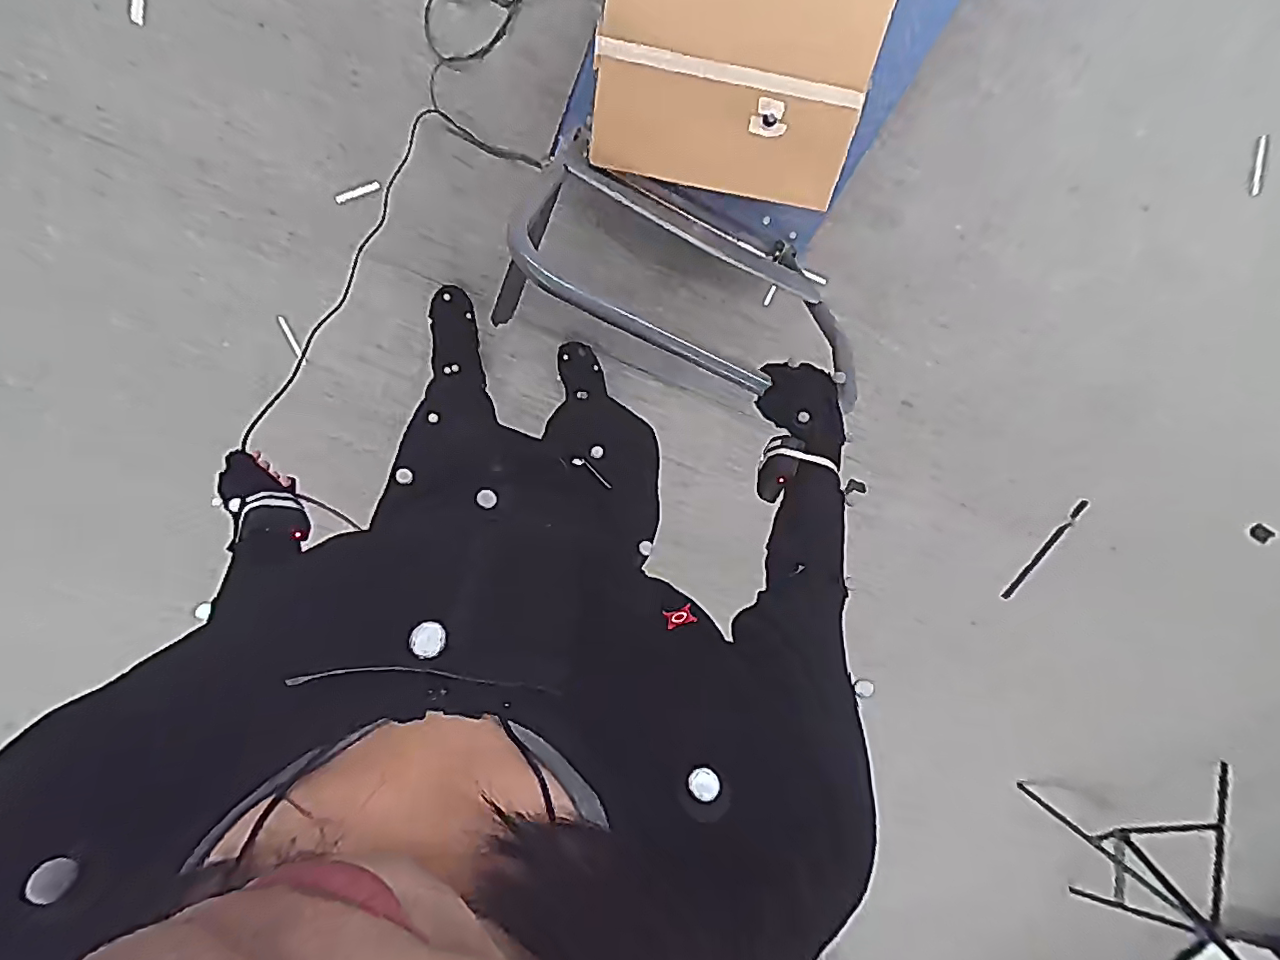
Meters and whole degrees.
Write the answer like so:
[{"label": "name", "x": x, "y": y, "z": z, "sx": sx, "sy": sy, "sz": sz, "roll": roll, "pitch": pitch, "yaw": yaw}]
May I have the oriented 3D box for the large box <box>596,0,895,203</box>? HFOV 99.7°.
[{"label": "large box", "x": 0.144, "y": -0.695, "z": 0.929, "sx": 0.408, "sy": 0.320, "sz": 0.320, "roll": 8, "pitch": 125, "yaw": -6}]
